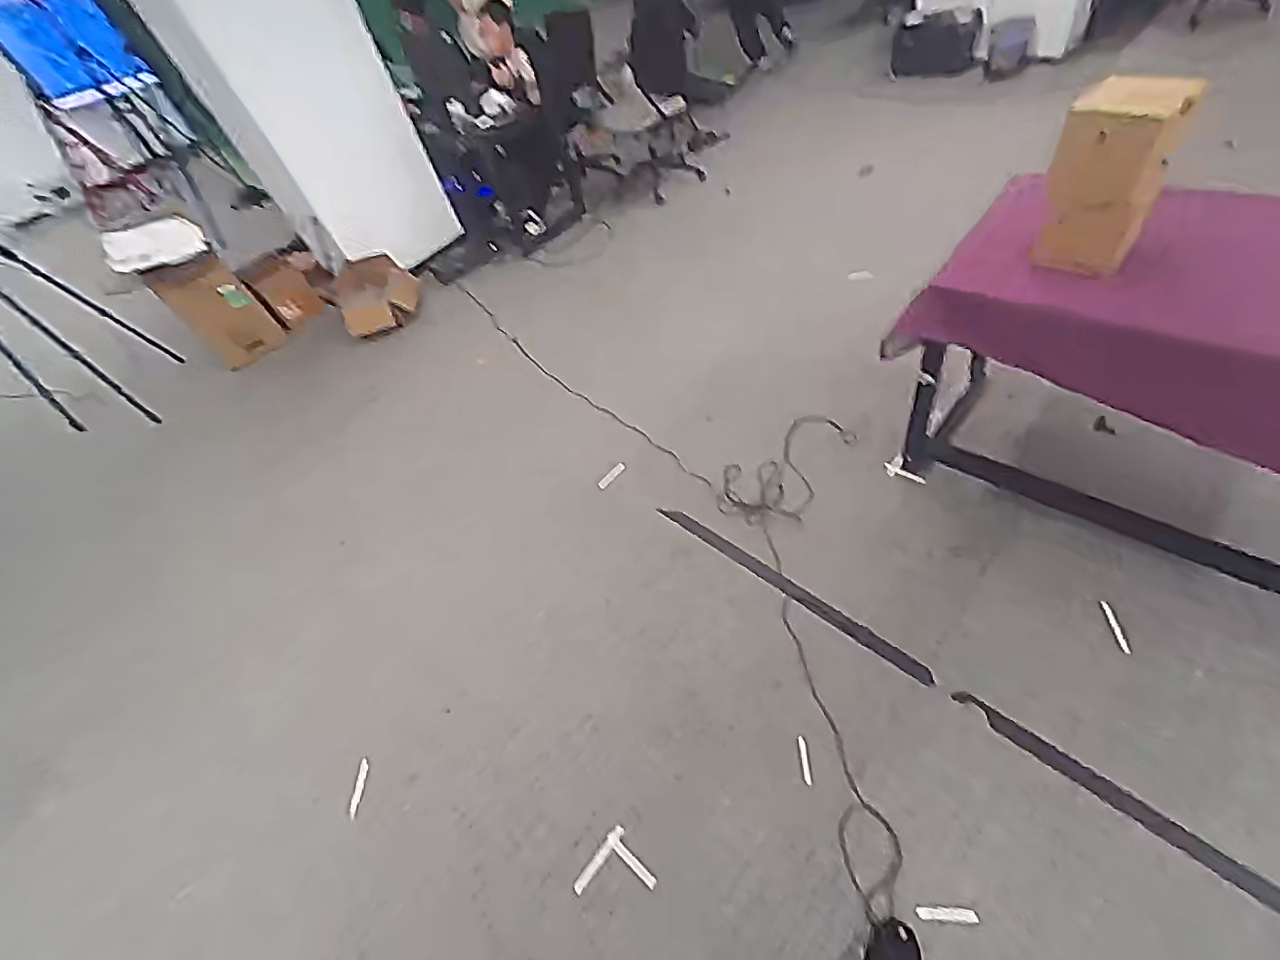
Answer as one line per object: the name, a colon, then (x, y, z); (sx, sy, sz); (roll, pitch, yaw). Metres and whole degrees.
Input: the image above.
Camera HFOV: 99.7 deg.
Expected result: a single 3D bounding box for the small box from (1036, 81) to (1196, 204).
small box: (0.988, -0.710, 1.141); (0.168, 0.176, 0.179); (-39, 52, -16)
